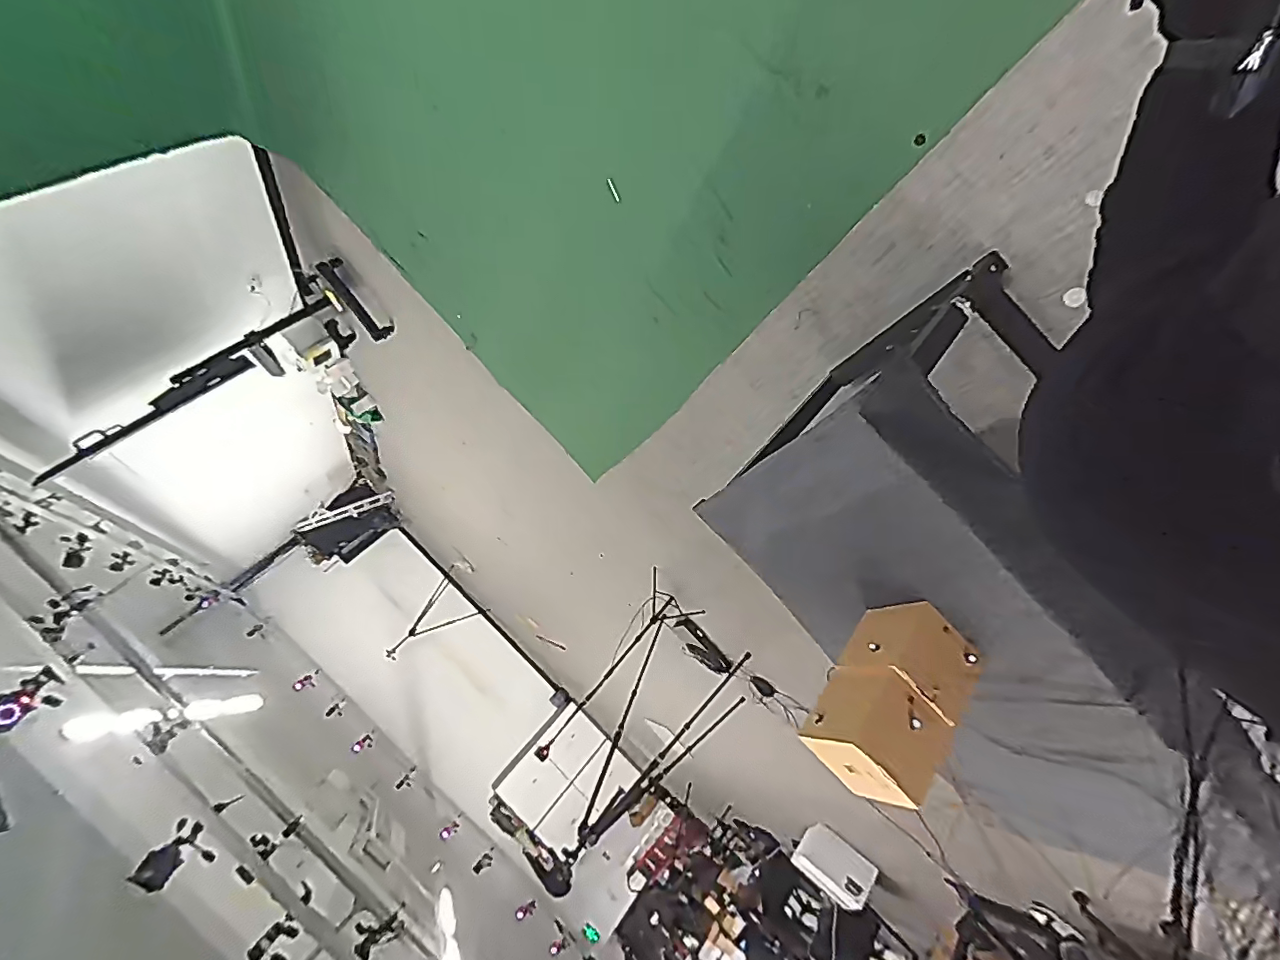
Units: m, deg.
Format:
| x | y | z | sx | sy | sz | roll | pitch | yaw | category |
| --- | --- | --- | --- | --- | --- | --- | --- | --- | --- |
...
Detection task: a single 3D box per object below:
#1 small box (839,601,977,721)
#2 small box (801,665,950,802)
| x | y | z | sx | sy | sz | roll | pitch | yaw | category |
| --- | --- | --- | --- | --- | --- | --- | --- | --- | --- |
| 0.559 | 0.368 | 1.119 | 0.168 | 0.176 | 0.179 | 46 | 153 | 0 | small box |
| 0.459 | 0.483 | 1.055 | 0.168 | 0.176 | 0.179 | 45 | 151 | 1 | small box |
